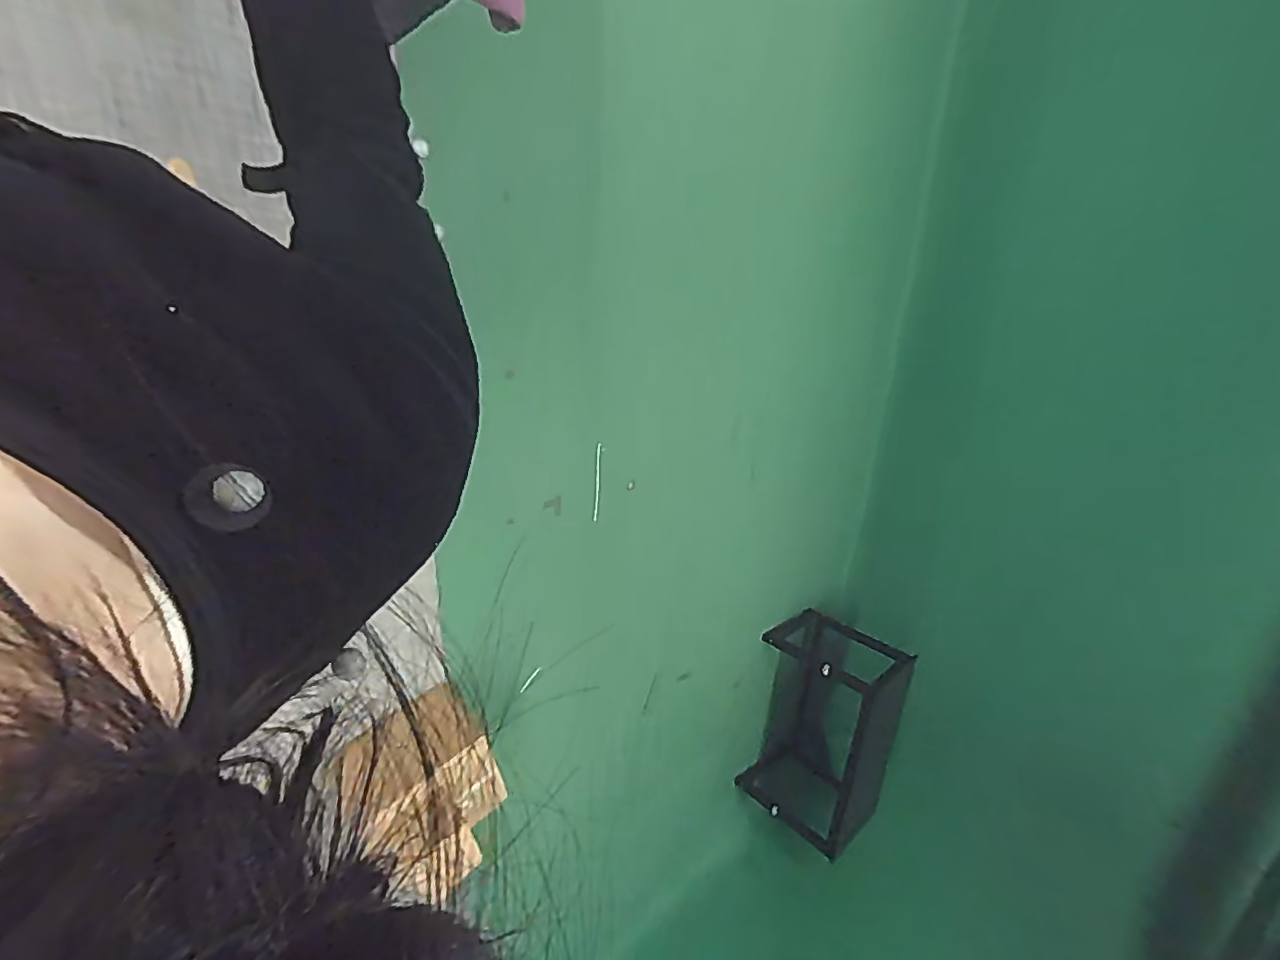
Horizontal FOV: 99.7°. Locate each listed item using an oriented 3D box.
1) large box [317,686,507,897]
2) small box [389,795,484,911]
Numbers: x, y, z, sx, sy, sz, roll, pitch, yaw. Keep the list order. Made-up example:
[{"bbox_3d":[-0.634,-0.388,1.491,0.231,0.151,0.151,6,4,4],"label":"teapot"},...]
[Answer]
[{"bbox_3d":[-0.698,0.941,1.680,0.408,0.320,0.320,-30,126,-36],"label":"large box"},{"bbox_3d":[-0.561,1.008,1.482,0.168,0.176,0.179,-29,123,-35],"label":"small box"}]
